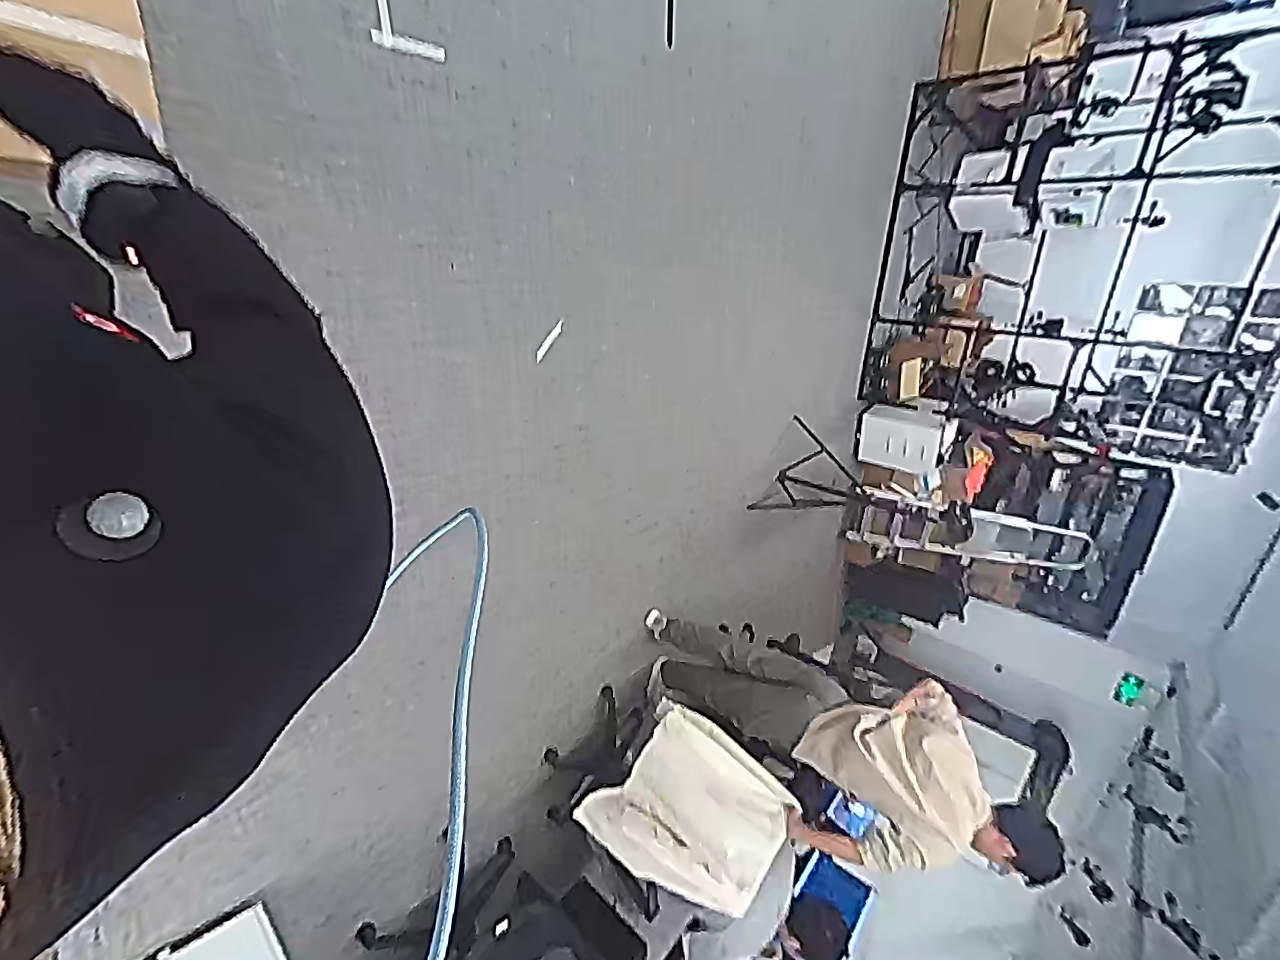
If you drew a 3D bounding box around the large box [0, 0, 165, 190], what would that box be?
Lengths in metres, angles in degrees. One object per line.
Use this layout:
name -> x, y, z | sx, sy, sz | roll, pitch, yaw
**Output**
large box -> -0.922, -0.574, 0.678 | 0.408, 0.320, 0.320 | -19, 120, -47
